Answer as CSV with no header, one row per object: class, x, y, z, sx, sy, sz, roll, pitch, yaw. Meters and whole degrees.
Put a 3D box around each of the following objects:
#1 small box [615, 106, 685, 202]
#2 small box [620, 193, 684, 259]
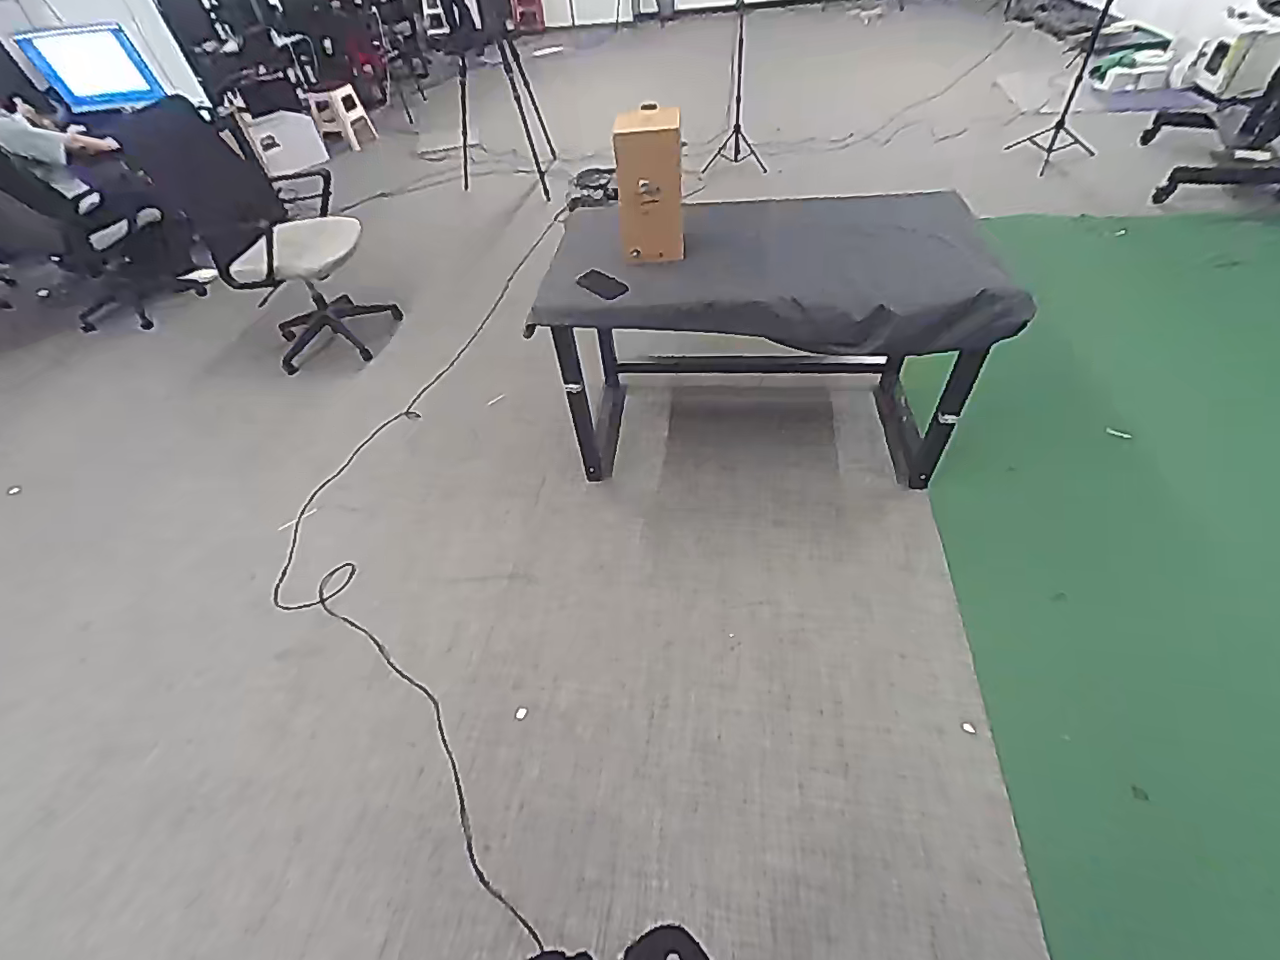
small box,0.031,-0.852,1.416,0.168,0.176,0.179,-1,50,6
small box,0.041,-0.744,1.536,0.168,0.176,0.179,0,48,6
